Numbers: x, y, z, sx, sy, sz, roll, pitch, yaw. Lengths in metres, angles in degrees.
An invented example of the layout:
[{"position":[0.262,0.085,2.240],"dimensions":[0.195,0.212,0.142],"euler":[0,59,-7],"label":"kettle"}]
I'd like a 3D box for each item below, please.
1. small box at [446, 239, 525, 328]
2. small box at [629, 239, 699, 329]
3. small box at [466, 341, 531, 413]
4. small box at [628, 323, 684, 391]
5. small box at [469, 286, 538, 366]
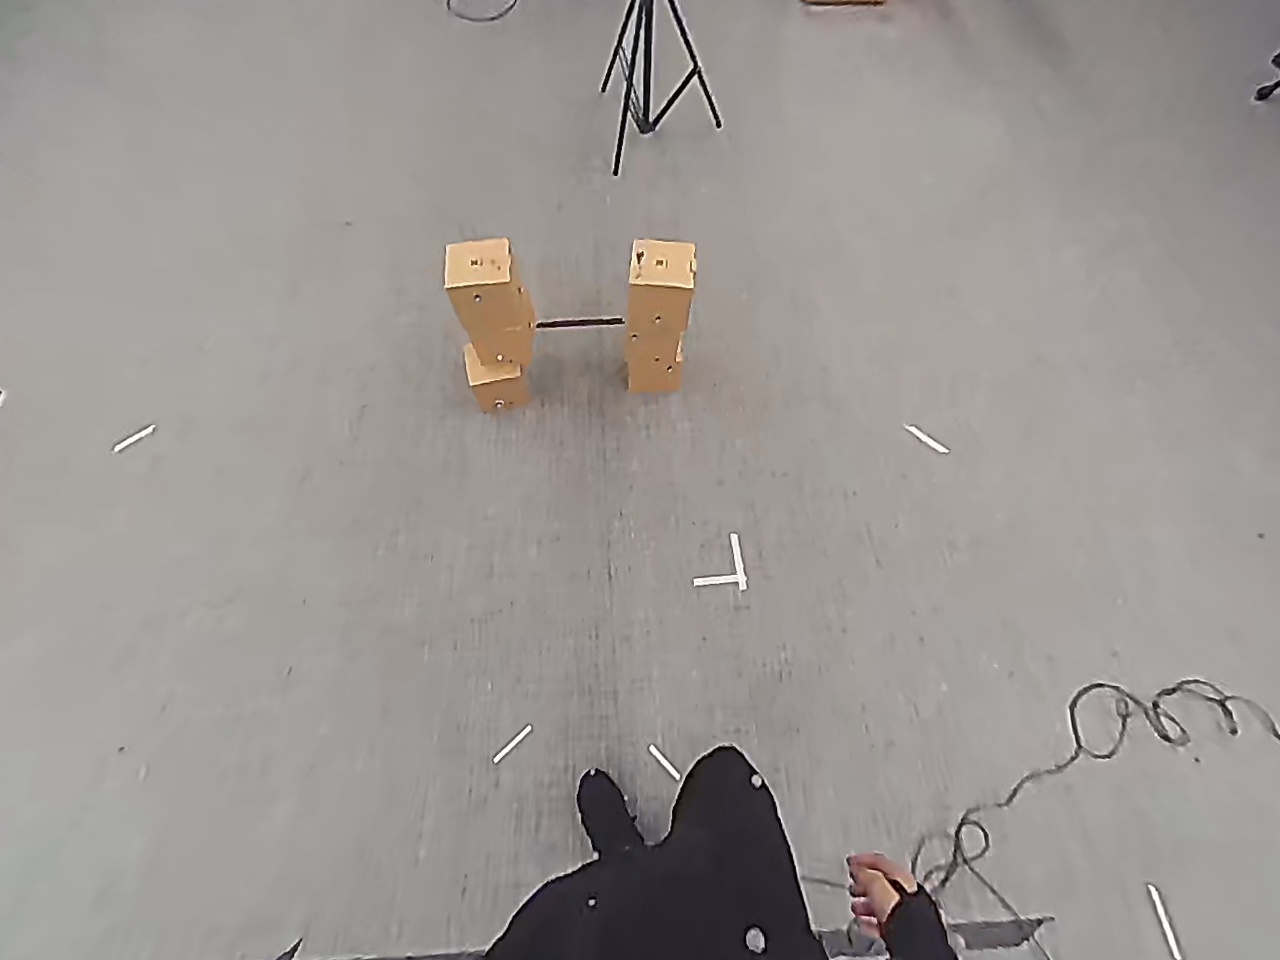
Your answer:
[{"position":[-0.428,-0.545,1.519],"dimensions":[0.179,0.176,0.168],"euler":[-6,64,-3],"label":"small box"},{"position":[0.065,-0.548,1.526],"dimensions":[0.179,0.176,0.168],"euler":[5,64,0],"label":"small box"},{"position":[-0.464,-0.350,1.788],"dimensions":[0.168,0.176,0.179],"euler":[-13,66,-6],"label":"small box"},{"position":[0.052,-0.413,1.825],"dimensions":[0.179,0.176,0.168],"euler":[-2,65,-3],"label":"small box"},{"position":[-0.413,-0.475,1.667],"dimensions":[0.168,0.176,0.179],"euler":[0,65,1],"label":"small box"}]
